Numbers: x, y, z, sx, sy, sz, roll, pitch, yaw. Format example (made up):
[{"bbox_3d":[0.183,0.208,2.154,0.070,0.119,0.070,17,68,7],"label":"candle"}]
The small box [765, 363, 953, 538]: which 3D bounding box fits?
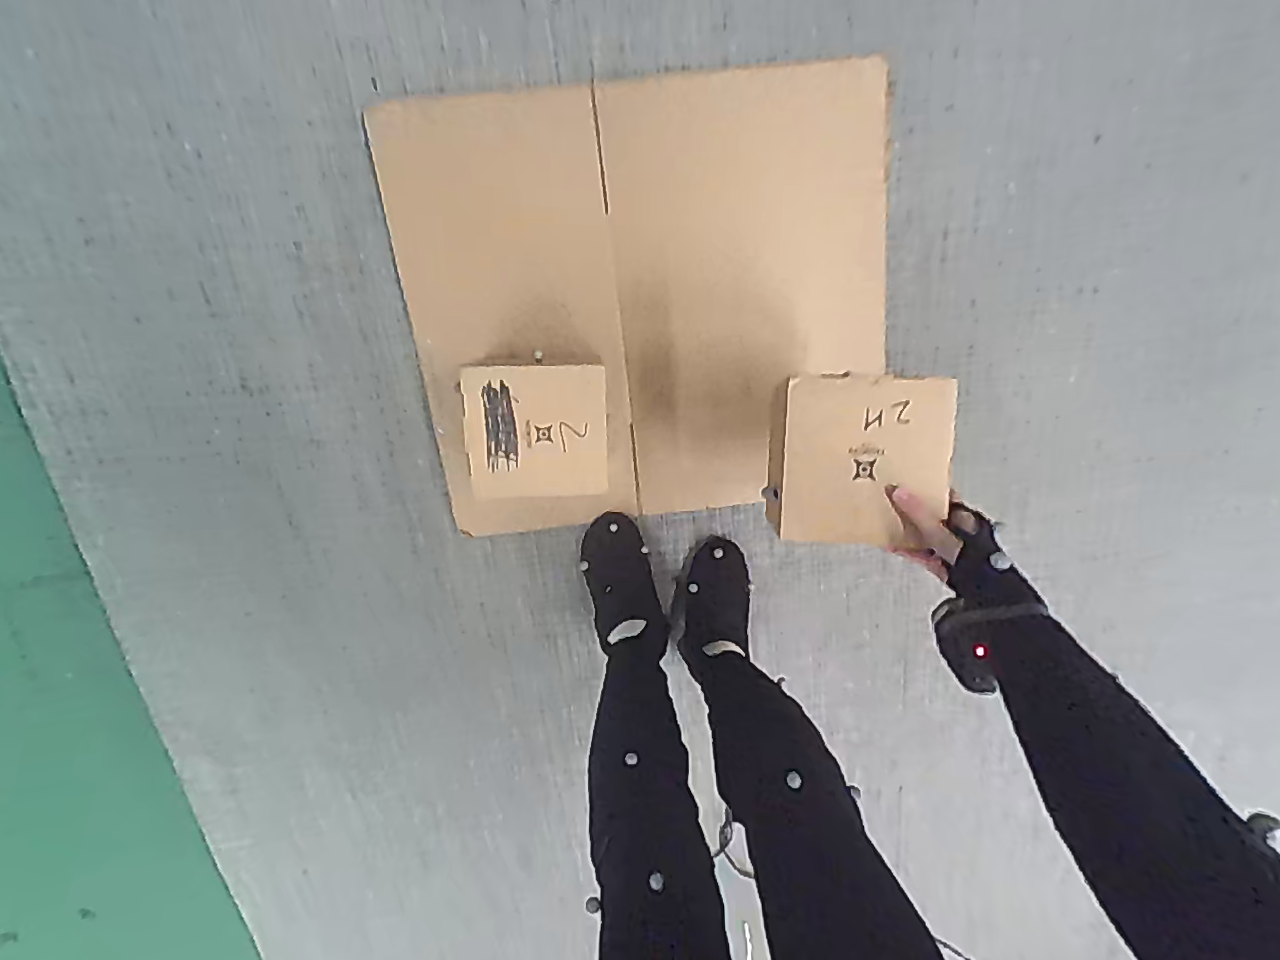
[{"bbox_3d":[0.241,-0.038,0.637,0.168,0.176,0.179,3,94,8],"label":"small box"}]
